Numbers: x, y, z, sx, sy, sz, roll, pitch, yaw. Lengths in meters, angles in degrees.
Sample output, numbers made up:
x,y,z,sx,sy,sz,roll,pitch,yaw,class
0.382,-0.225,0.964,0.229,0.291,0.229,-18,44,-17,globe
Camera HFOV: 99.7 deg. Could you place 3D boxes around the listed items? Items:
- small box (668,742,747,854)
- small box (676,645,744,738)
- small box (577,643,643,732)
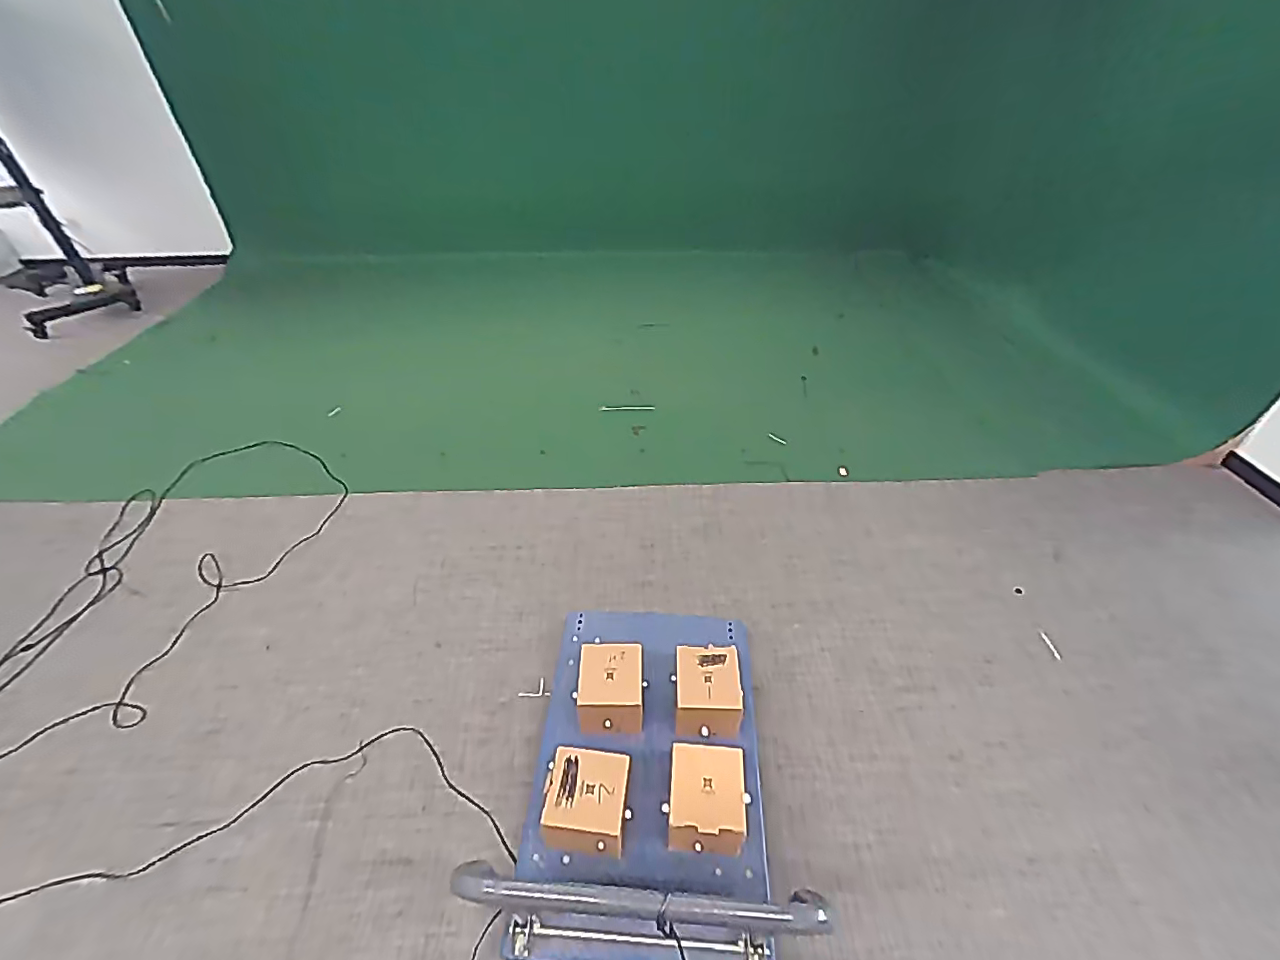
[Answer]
x,y,z,sx,sy,sz,roll,pitch,yaw,class
0.155,0.746,1.267,0.168,0.176,0.179,3,42,4,small box
0.182,0.571,1.461,0.168,0.176,0.179,1,42,2,small box
-0.075,0.566,1.469,0.168,0.176,0.179,1,41,0,small box
